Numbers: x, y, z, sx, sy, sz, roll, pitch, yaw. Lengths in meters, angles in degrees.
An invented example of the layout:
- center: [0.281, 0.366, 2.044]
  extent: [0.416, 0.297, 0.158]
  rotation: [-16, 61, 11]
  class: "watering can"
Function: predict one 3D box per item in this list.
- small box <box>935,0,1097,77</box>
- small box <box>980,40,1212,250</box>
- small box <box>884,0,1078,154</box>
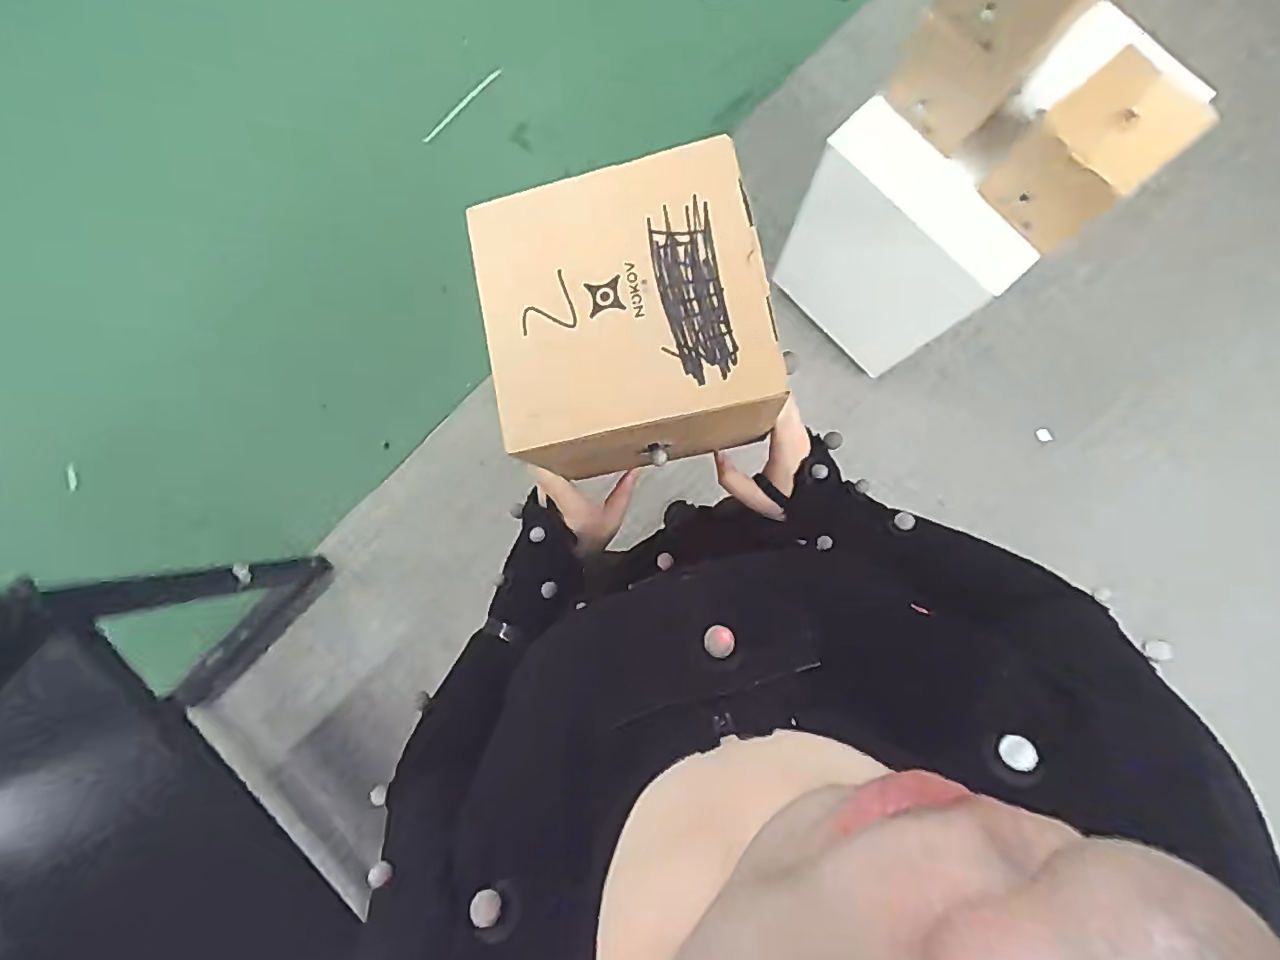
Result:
- center: [0.524, -0.682, 0.688]
  extent: [0.179, 0.176, 0.168]
  rotation: [-42, 85, 0]
  class: "small box"
- center: [0.681, -0.500, 0.833]
  extent: [0.179, 0.176, 0.168]
  rotation: [-42, 84, 0]
  class: "small box"
- center: [0.527, -0.673, 0.853]
  extent: [0.179, 0.176, 0.168]
  rotation: [-43, 86, 1]
  class: "small box"
